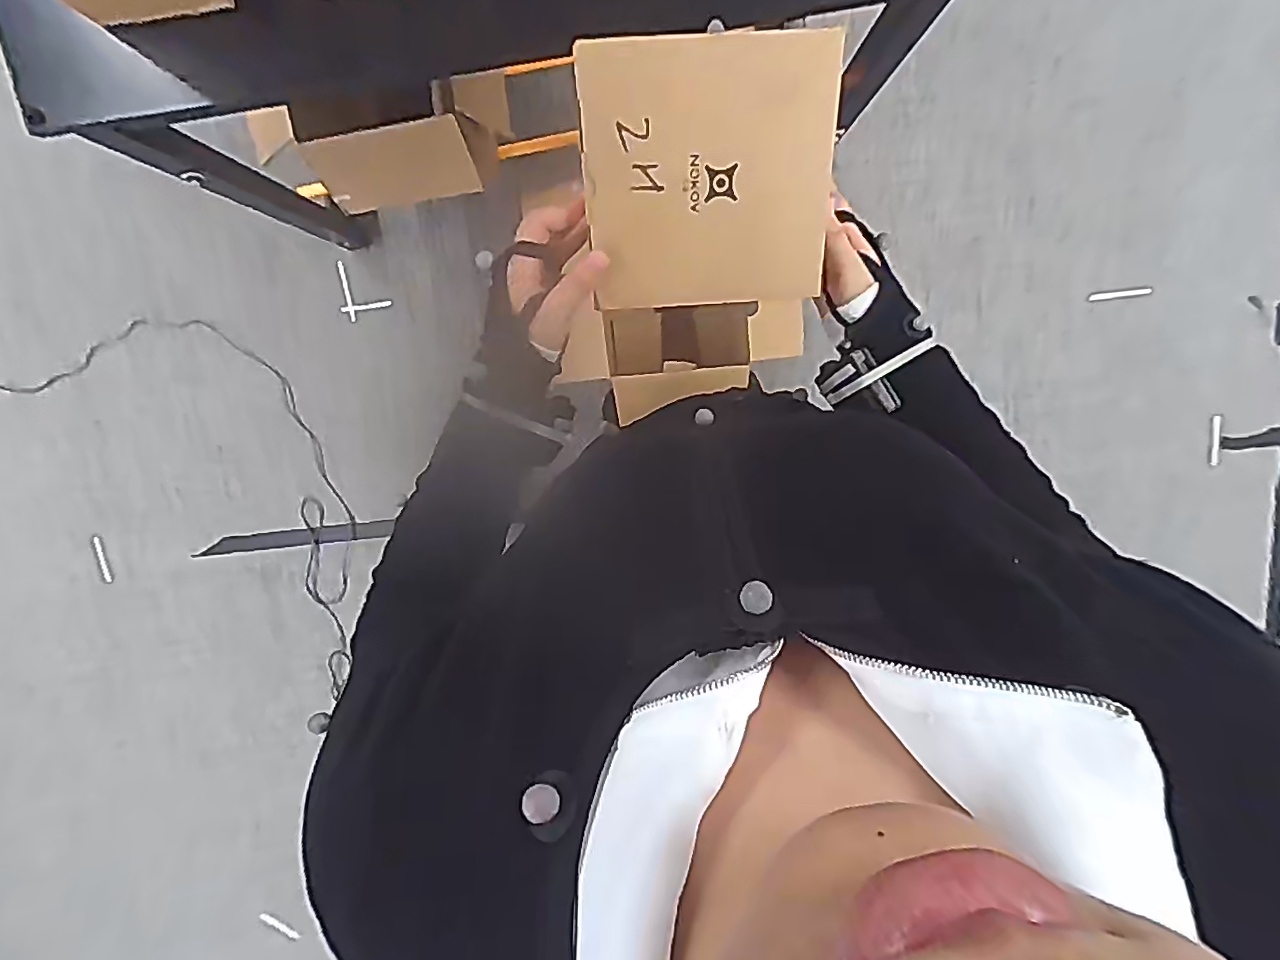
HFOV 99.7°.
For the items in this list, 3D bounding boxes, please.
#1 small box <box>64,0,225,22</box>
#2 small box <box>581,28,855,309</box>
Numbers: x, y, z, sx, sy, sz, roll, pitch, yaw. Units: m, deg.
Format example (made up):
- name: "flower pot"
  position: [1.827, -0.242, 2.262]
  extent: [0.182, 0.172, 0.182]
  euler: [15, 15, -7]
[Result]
- name: "small box"
  position: [-0.580, -0.619, 0.557]
  extent: [0.179, 0.176, 0.168]
  euler: [-6, 101, 1]
- name: "small box"
  position: [0.048, -0.241, 0.441]
  extent: [0.179, 0.176, 0.168]
  euler: [-4, 116, -1]
